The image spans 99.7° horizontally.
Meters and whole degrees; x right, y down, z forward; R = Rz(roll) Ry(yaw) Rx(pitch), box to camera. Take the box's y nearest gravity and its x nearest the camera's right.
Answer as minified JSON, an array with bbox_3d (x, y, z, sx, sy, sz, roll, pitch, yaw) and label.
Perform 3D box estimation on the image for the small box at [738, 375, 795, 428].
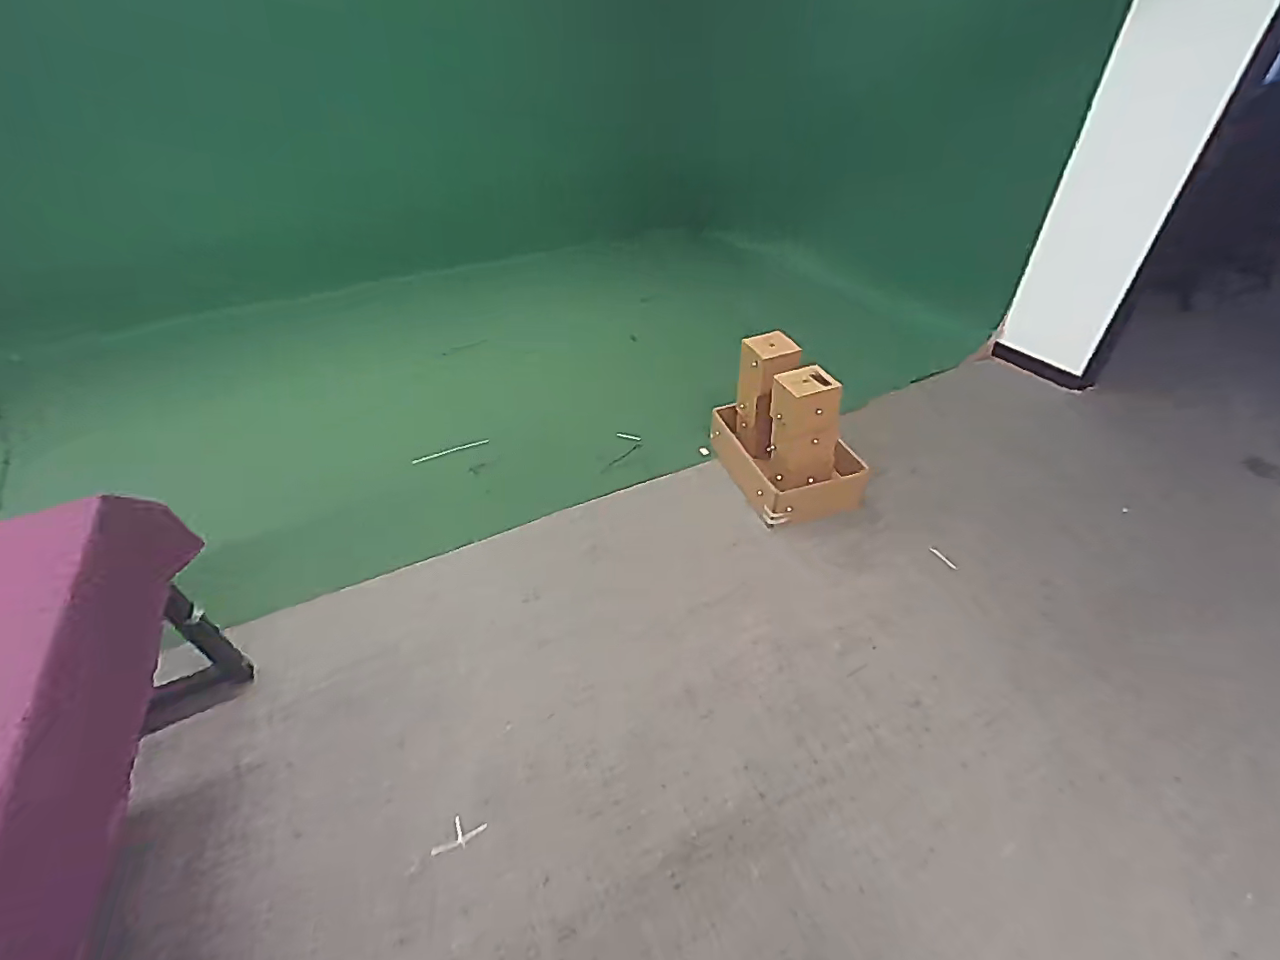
[{"bbox_3d":[0.520,-0.343,2.253,0.179,0.176,0.168,-15,43,-11],"label":"small box"}]

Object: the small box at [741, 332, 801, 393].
[{"bbox_3d":[0.510,-0.456,2.132,0.168,0.176,0.179,-15,42,-12],"label":"small box"}]

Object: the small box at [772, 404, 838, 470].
[{"bbox_3d":[0.609,-0.158,2.025,0.179,0.176,0.168,-14,41,-12],"label":"small box"}]
